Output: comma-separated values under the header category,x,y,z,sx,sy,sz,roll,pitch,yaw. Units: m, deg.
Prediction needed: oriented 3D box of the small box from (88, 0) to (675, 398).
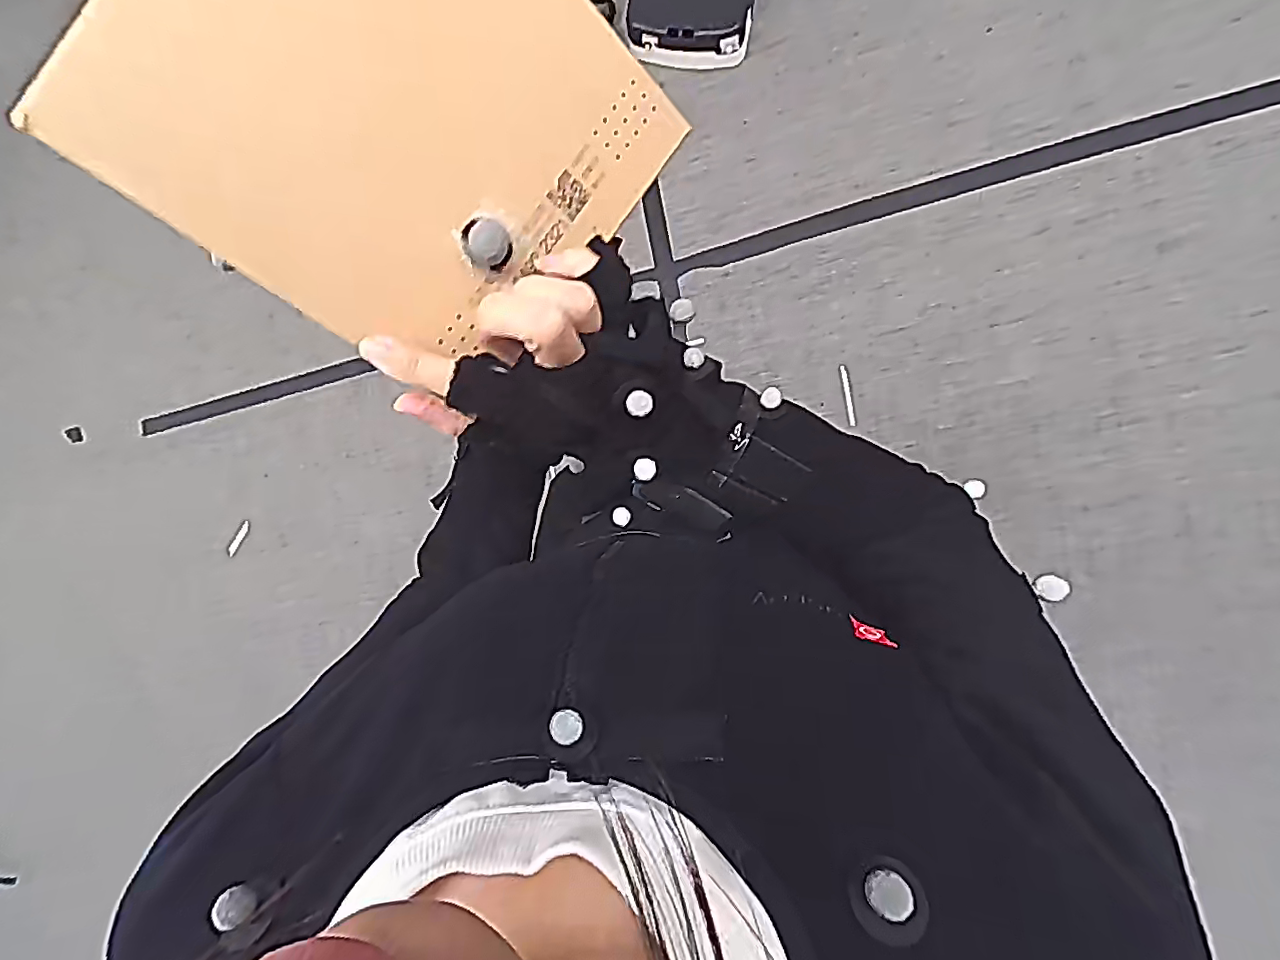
category,x,y,z,sx,sy,sz,roll,pitch,yaw
small box,-0.113,-0.165,0.295,0.176,0.179,0.168,36,93,-28
